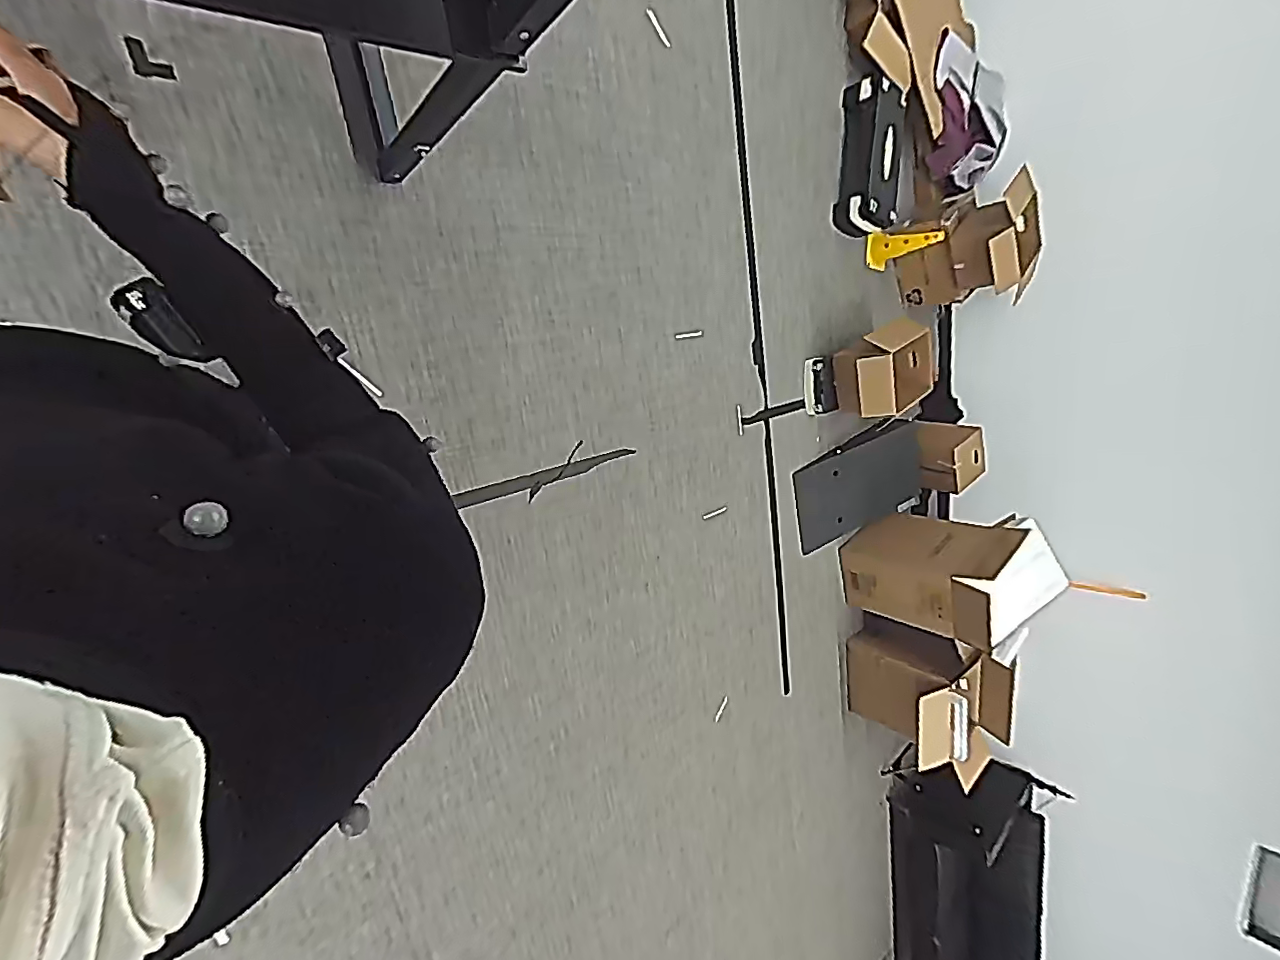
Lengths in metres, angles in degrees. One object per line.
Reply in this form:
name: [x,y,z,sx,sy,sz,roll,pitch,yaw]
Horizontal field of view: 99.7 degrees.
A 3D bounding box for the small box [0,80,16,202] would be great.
small box: [-0.579,-0.317,0.375,0.168,0.176,0.179,-10,107,-43]
